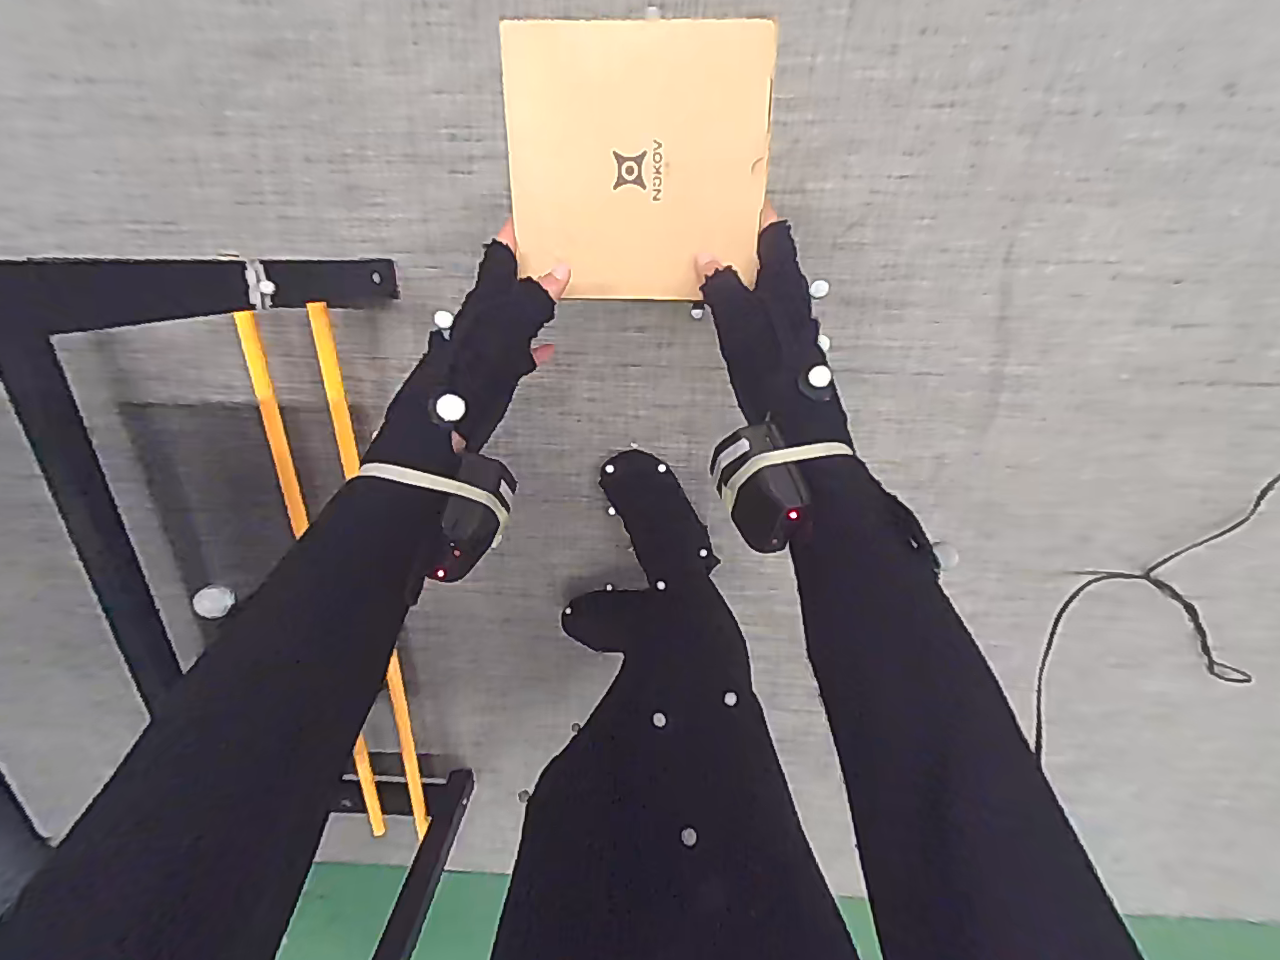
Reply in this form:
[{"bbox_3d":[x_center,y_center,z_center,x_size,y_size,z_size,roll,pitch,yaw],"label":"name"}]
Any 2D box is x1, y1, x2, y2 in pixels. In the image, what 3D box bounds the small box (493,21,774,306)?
[{"bbox_3d":[-0.002,-0.234,0.433,0.179,0.176,0.168,2,113,2],"label":"small box"}]
